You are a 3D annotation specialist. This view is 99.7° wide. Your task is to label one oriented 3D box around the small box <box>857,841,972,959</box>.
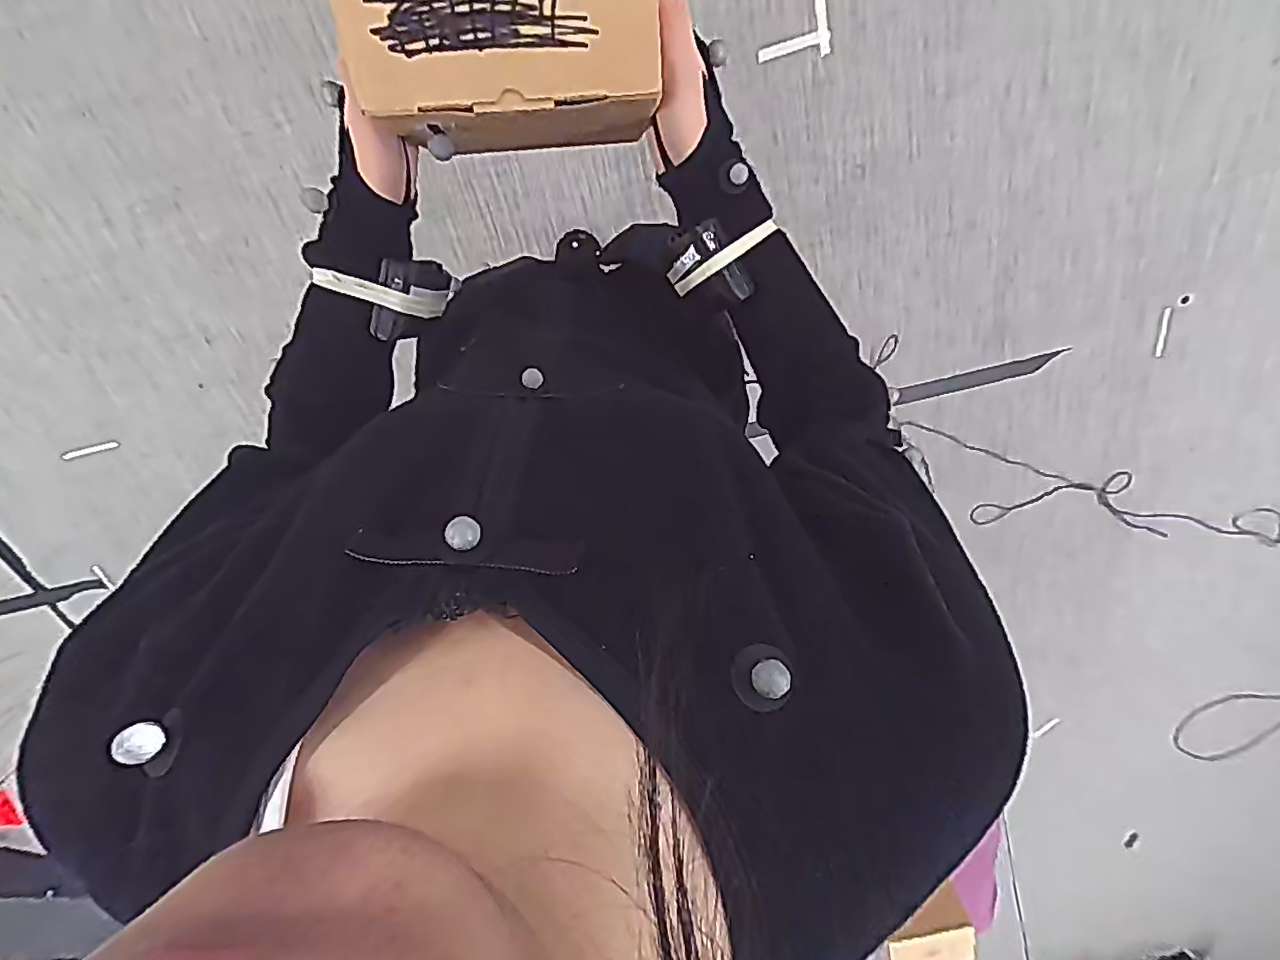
[{"bbox_3d":[0.589,0.932,1.181,0.179,0.176,0.168,-16,118,3],"label":"small box"}]
